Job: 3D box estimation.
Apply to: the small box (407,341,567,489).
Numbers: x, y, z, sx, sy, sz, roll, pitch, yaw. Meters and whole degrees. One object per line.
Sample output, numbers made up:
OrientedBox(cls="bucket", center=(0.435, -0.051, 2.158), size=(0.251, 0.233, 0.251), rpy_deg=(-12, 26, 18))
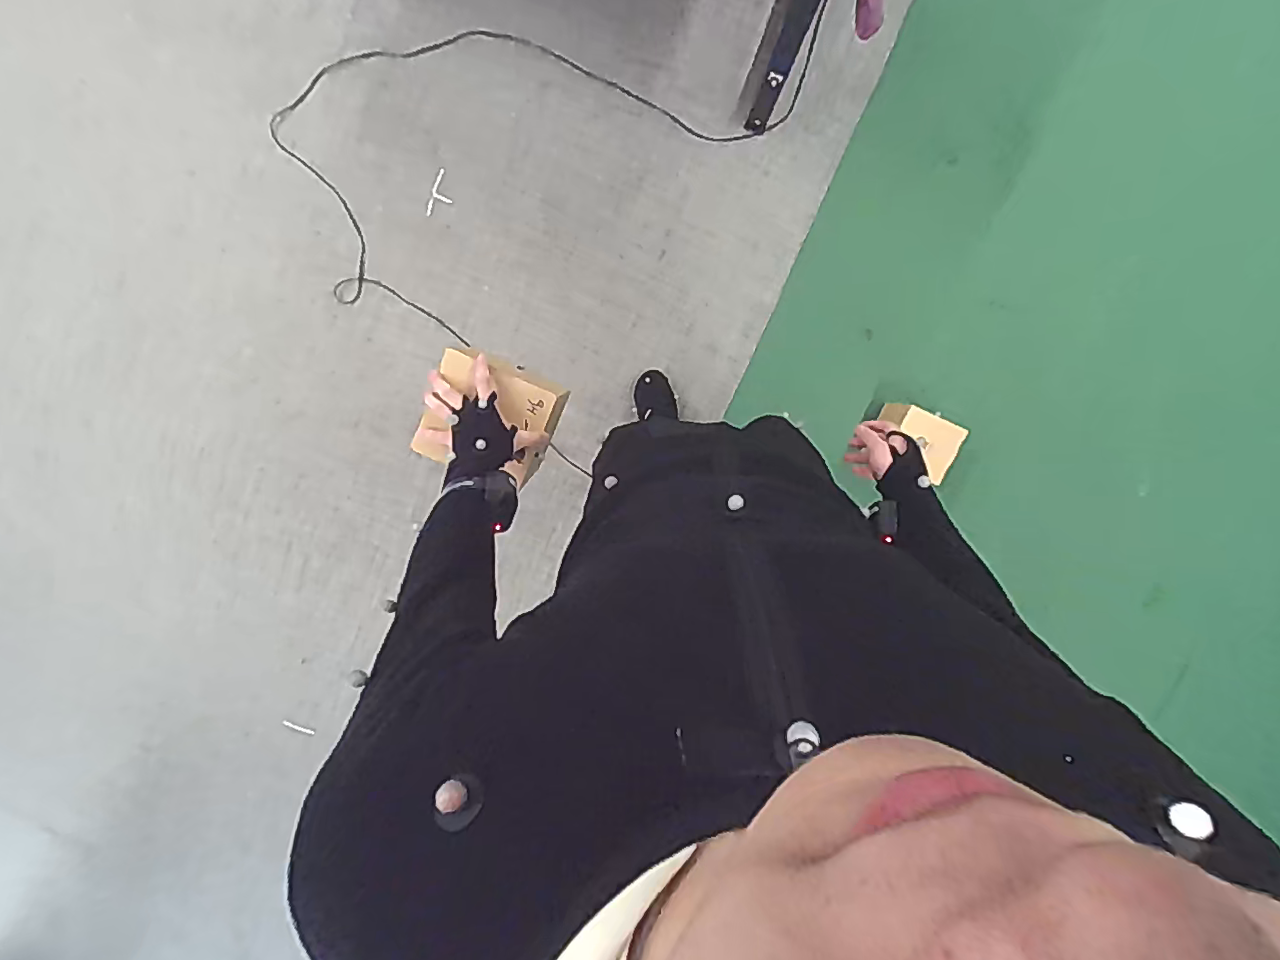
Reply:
OrientedBox(cls="small box", center=(-0.234, -0.108, 0.869), size=(0.179, 0.176, 0.168), rpy_deg=(24, 102, -5))

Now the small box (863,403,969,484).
OrientedBox(cls="small box", center=(0.760, -0.106, 1.514), size=(0.179, 0.176, 0.168), rpy_deg=(24, 100, -4))
